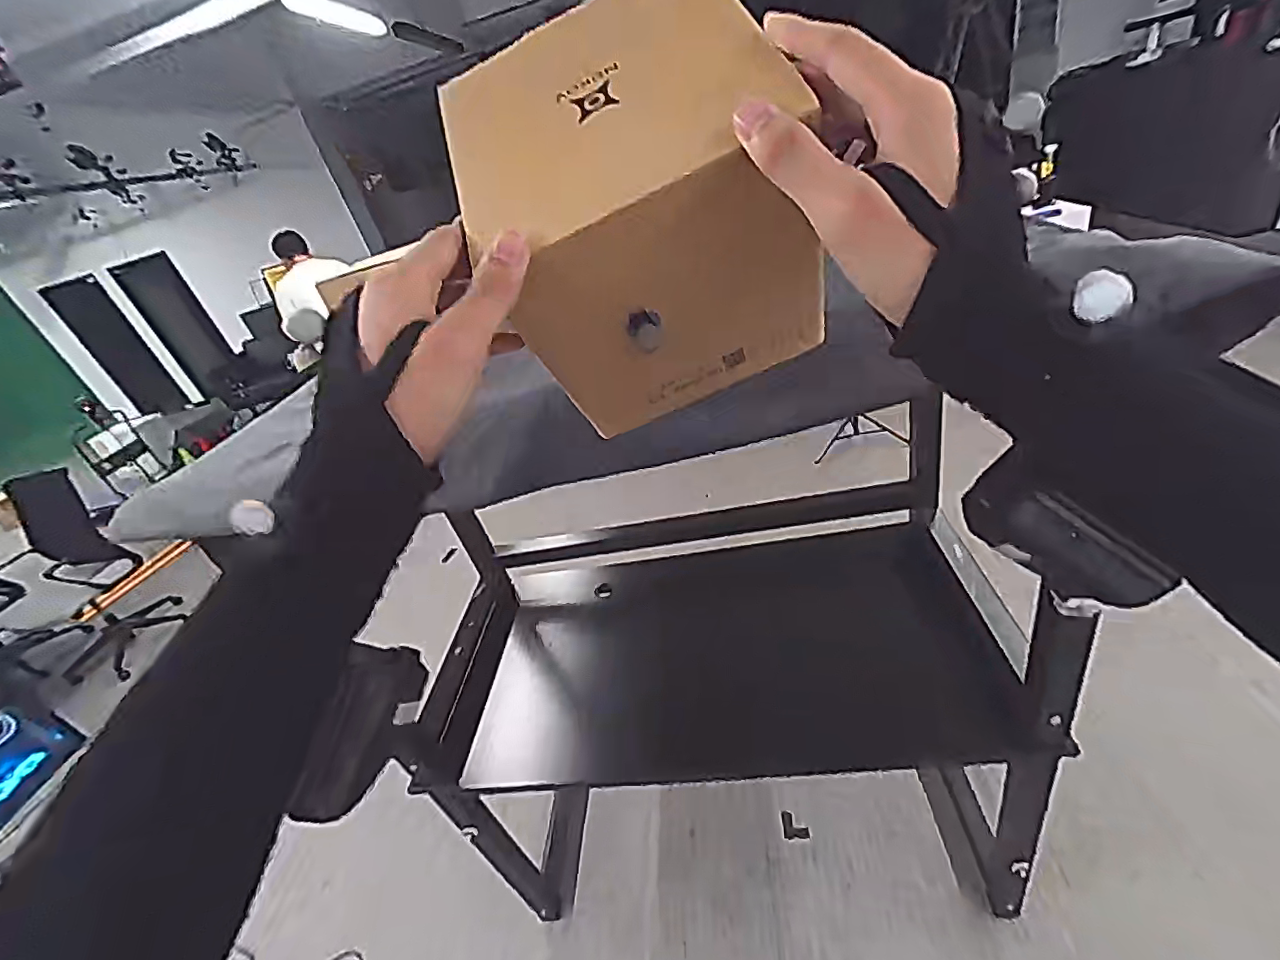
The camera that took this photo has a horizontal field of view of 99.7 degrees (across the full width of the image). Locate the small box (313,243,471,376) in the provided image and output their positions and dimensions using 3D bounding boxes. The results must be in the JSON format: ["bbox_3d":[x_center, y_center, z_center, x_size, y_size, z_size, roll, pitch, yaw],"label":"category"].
[{"bbox_3d":[-0.433,-0.309,0.982,0.179,0.176,0.168,-11,32,9],"label":"small box"}]

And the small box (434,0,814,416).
[{"bbox_3d":[-0.001,-0.162,0.342,0.168,0.176,0.179,-23,62,9],"label":"small box"}]
